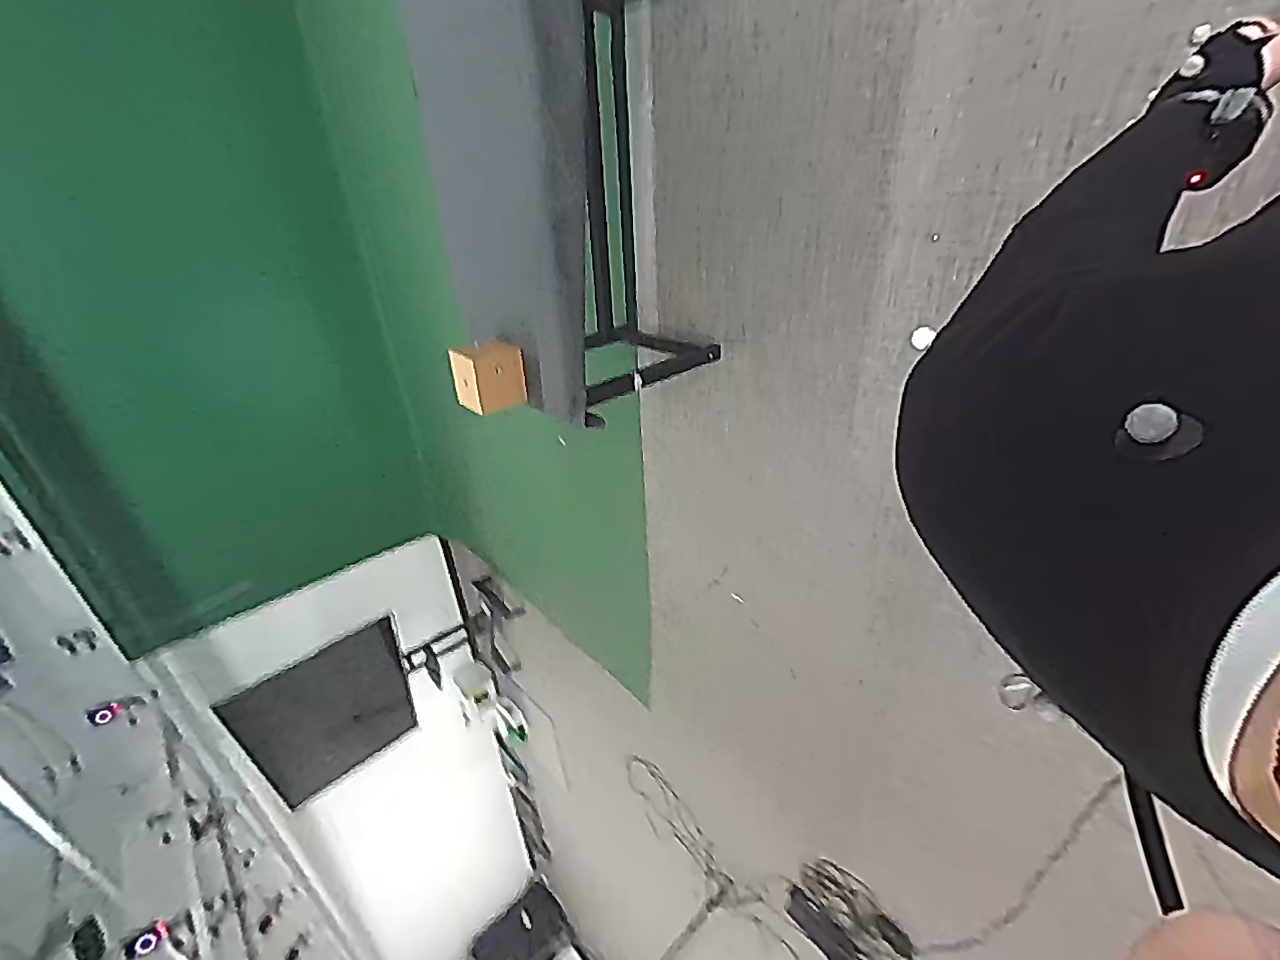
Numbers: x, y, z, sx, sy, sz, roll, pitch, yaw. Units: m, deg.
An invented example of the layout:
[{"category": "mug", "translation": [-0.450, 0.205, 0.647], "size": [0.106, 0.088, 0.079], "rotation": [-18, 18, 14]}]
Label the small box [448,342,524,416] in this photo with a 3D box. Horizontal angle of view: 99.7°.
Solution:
[{"category": "small box", "translation": [-0.487, -0.328, 1.725], "size": [0.168, 0.176, 0.179], "rotation": [31, 132, 40]}]
